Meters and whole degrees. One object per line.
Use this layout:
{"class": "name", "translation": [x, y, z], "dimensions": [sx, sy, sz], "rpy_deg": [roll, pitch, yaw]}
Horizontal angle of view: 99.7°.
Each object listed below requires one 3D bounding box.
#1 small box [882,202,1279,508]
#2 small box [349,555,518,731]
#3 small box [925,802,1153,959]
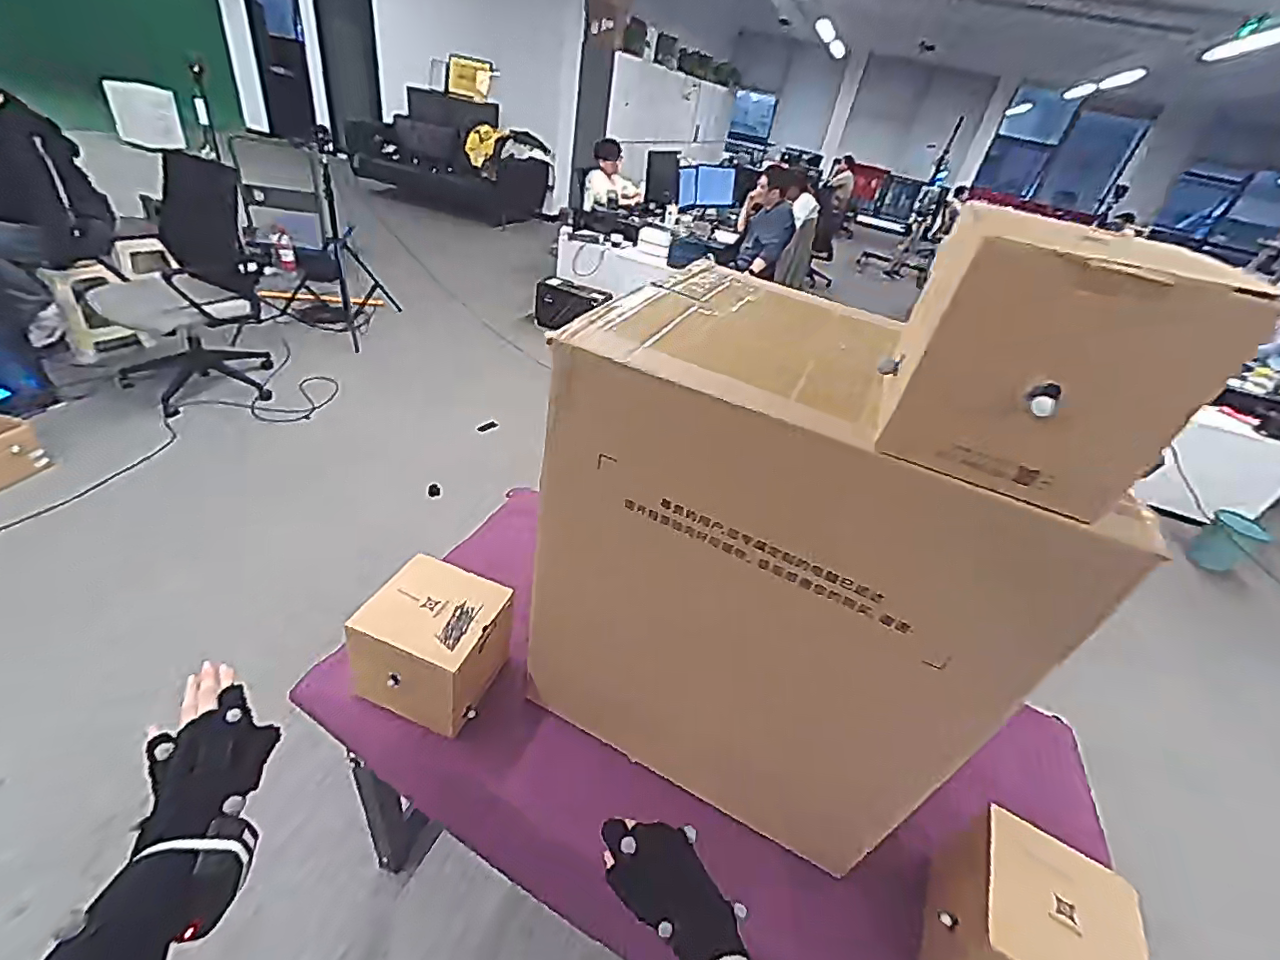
{"class": "small box", "translation": [0.310, -0.105, 0.432], "dimensions": [0.168, 0.176, 0.179], "rpy_deg": [21, 38, 13]}
{"class": "small box", "translation": [-0.308, 0.251, 0.832], "dimensions": [0.179, 0.176, 0.168], "rpy_deg": [19, 34, 9]}
{"class": "small box", "translation": [0.467, 0.550, 0.651], "dimensions": [0.168, 0.176, 0.179], "rpy_deg": [26, 36, 19]}
